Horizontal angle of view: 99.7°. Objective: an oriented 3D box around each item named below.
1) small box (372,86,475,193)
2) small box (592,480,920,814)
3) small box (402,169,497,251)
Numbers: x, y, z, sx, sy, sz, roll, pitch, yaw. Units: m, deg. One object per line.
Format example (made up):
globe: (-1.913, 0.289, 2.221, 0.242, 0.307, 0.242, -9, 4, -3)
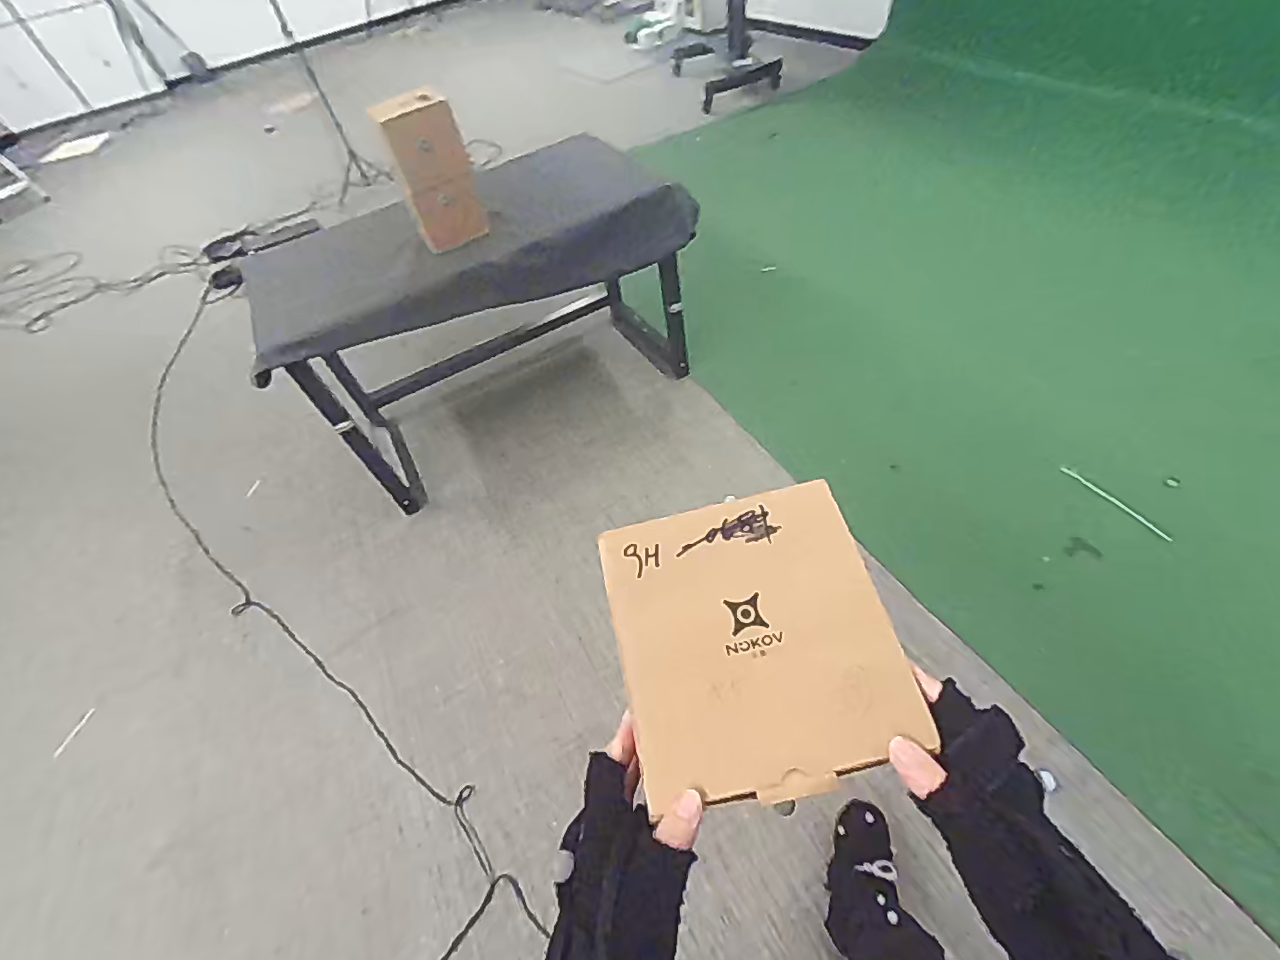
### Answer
small box: (-0.543, -0.870, 1.382, 0.179, 0.176, 0.168, -32, 54, -15)
small box: (0.072, 0.128, 0.410, 0.168, 0.176, 0.179, -14, 62, 0)
small box: (-0.528, -0.769, 1.510, 0.179, 0.176, 0.168, -28, 53, -13)
